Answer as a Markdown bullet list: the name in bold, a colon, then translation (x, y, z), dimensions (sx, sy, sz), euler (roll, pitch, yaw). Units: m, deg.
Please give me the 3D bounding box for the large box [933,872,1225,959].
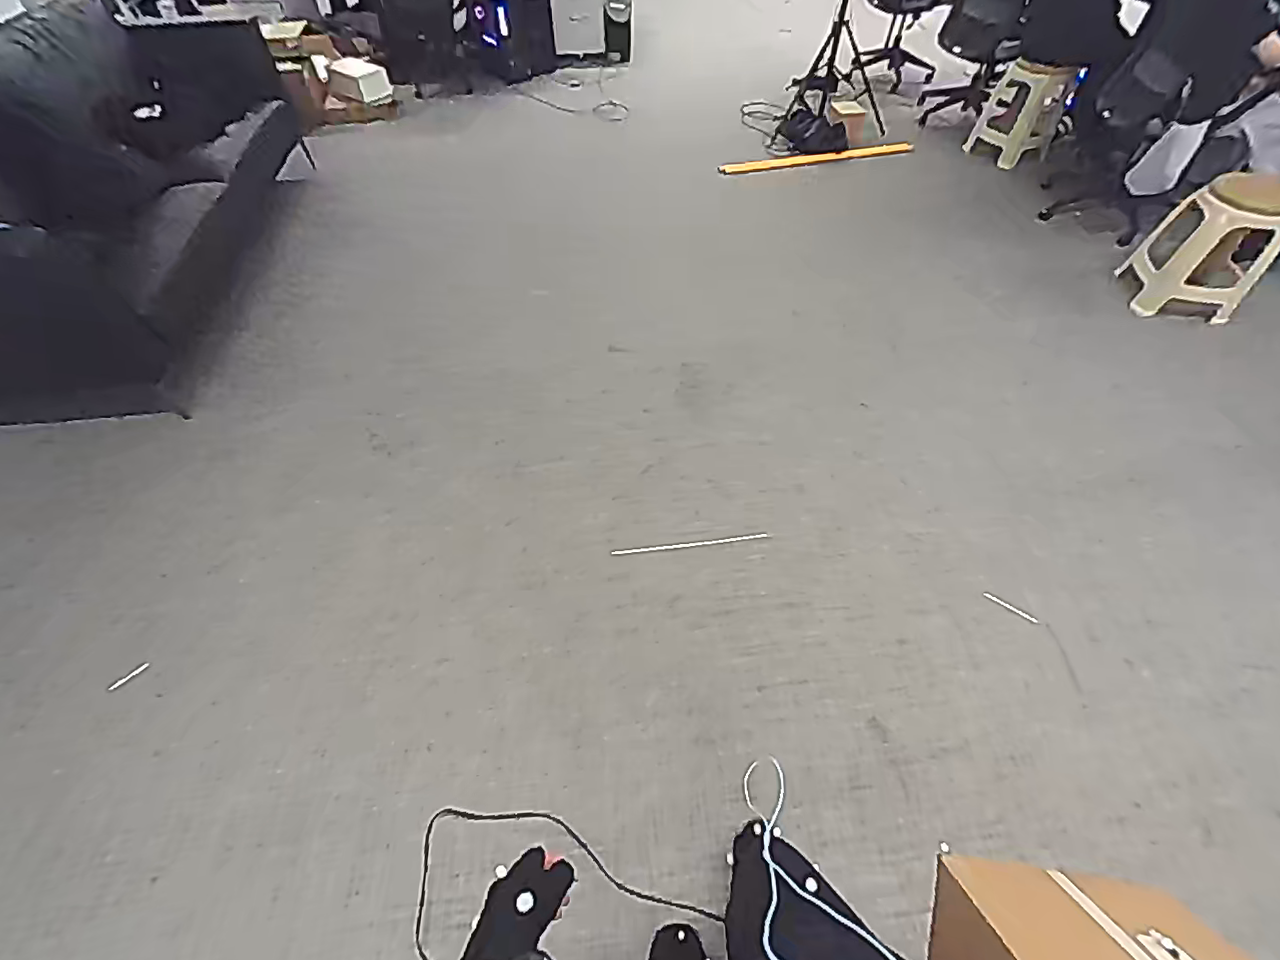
- **large box**: translation (0.559, 0.726, 0.574), dimensions (0.320, 0.408, 0.320), euler (8, 88, 3)
